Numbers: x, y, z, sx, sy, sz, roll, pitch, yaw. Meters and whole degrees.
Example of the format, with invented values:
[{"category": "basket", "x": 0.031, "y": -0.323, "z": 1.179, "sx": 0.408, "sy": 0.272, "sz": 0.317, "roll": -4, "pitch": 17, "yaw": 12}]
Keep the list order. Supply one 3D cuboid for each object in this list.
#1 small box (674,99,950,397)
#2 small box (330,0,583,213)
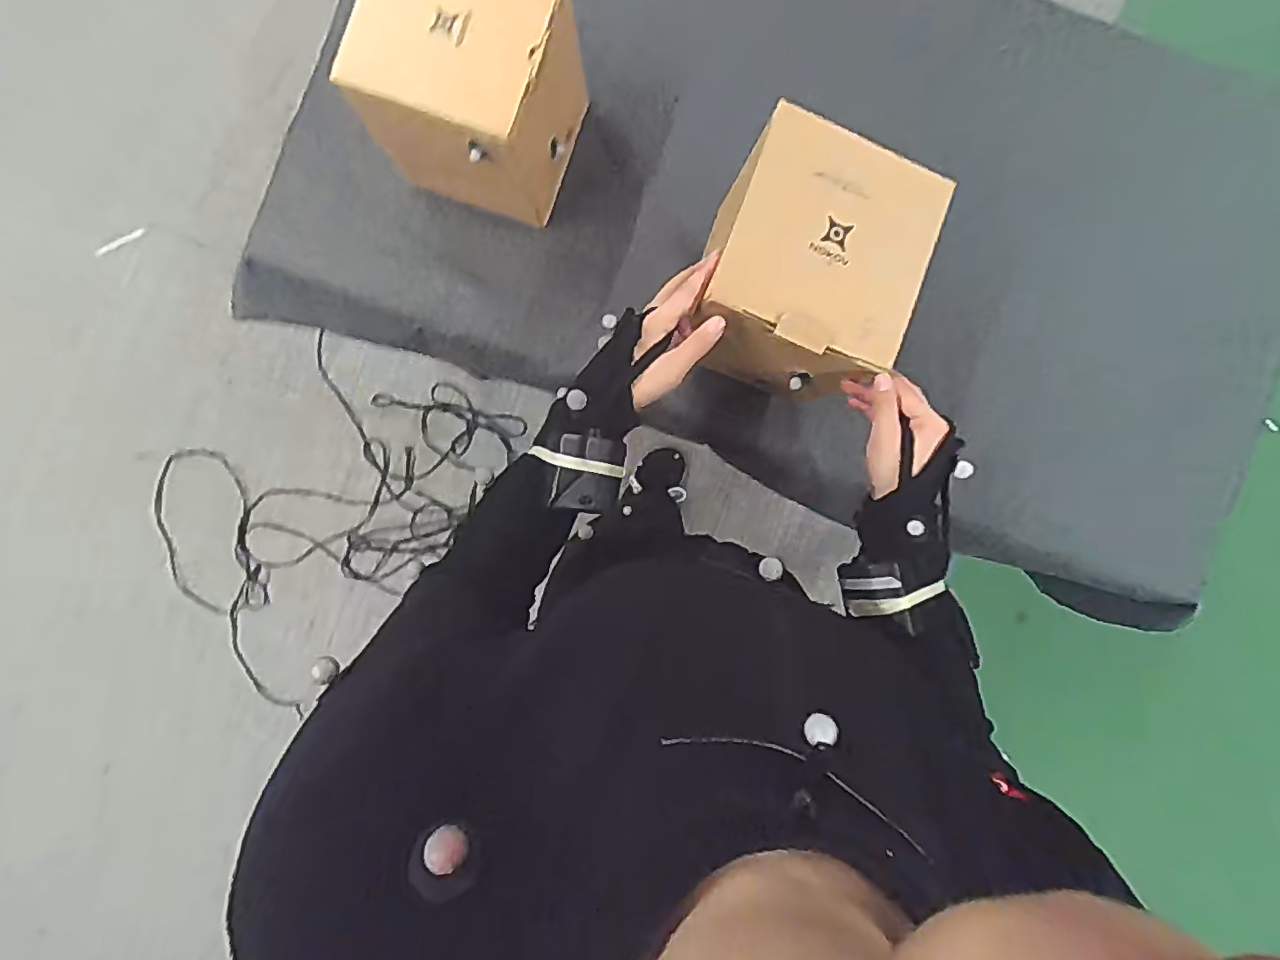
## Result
[{"category": "small box", "x": 0.141, "y": -0.193, "z": 0.510, "sx": 0.168, "sy": 0.176, "sz": 0.179, "roll": 20, "pitch": 86, "yaw": -8}, {"category": "small box", "x": -0.171, "y": -0.414, "z": 0.565, "sx": 0.179, "sy": 0.176, "sz": 0.168, "roll": 19, "pitch": 89, "yaw": 0}]
